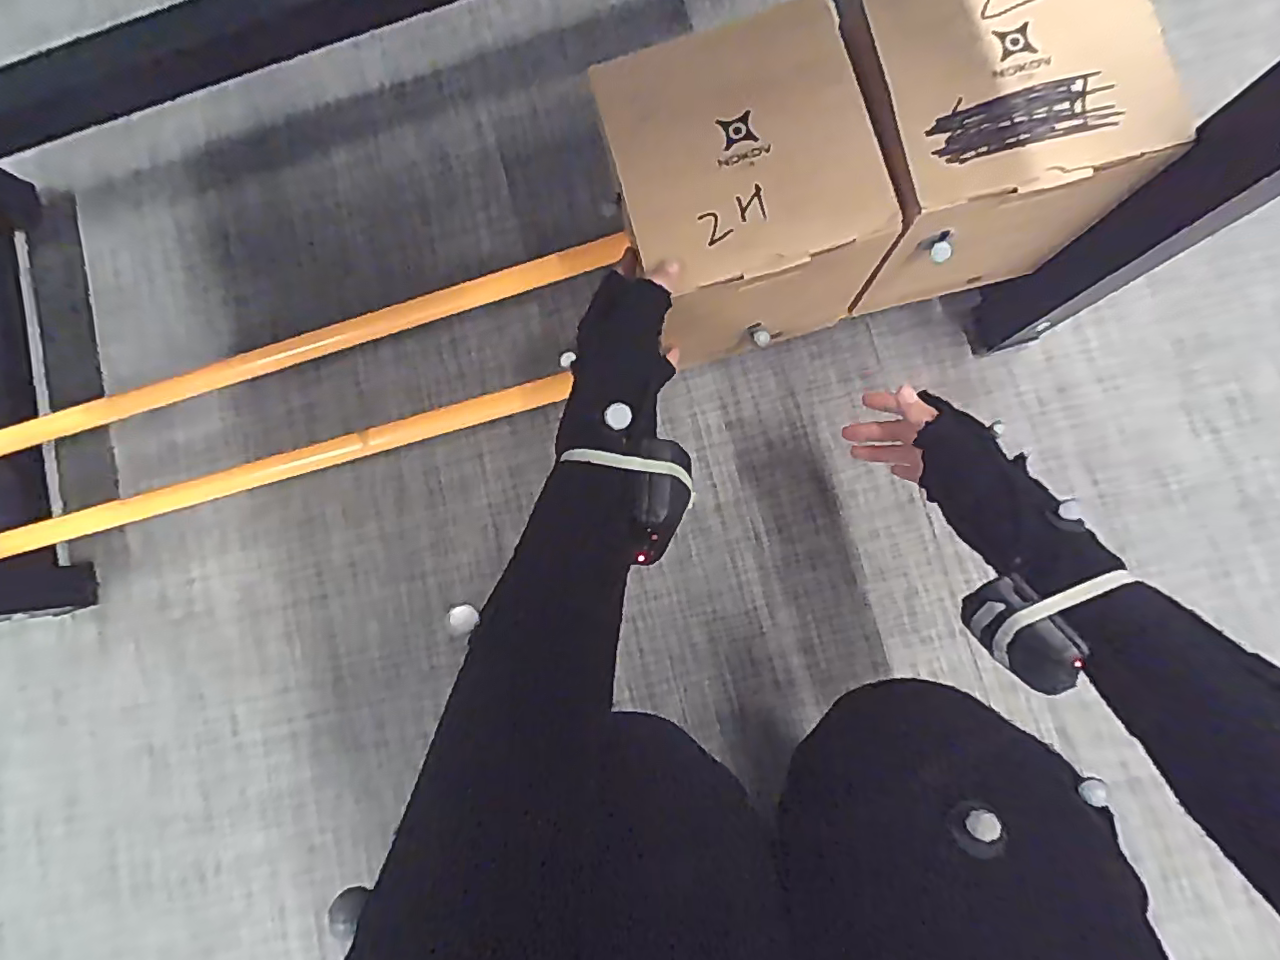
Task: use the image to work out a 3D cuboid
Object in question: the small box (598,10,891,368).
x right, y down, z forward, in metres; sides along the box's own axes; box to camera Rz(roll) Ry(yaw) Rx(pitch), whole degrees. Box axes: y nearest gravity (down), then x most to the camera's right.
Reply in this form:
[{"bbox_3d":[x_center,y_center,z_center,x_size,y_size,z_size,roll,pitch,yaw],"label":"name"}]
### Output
[{"bbox_3d":[0.073,-0.215,0.446,0.168,0.176,0.179,-15,84,4],"label":"small box"}]
